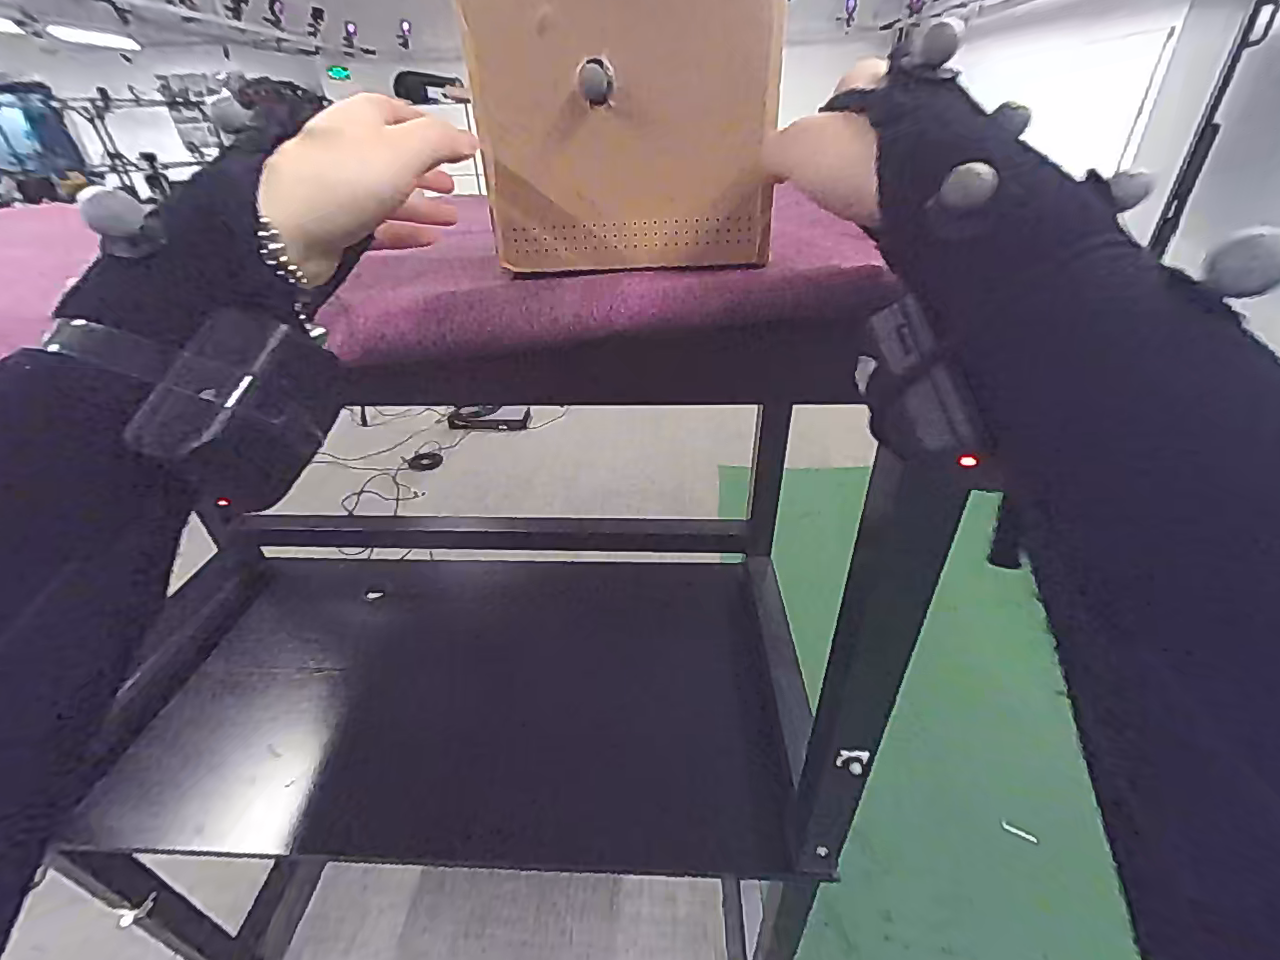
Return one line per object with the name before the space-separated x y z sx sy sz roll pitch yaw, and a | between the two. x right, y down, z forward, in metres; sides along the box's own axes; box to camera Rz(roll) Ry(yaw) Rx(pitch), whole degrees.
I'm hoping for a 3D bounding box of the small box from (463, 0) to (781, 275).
small box | -0.002 -0.244 0.373 0.179 0.176 0.168 -1 31 5
